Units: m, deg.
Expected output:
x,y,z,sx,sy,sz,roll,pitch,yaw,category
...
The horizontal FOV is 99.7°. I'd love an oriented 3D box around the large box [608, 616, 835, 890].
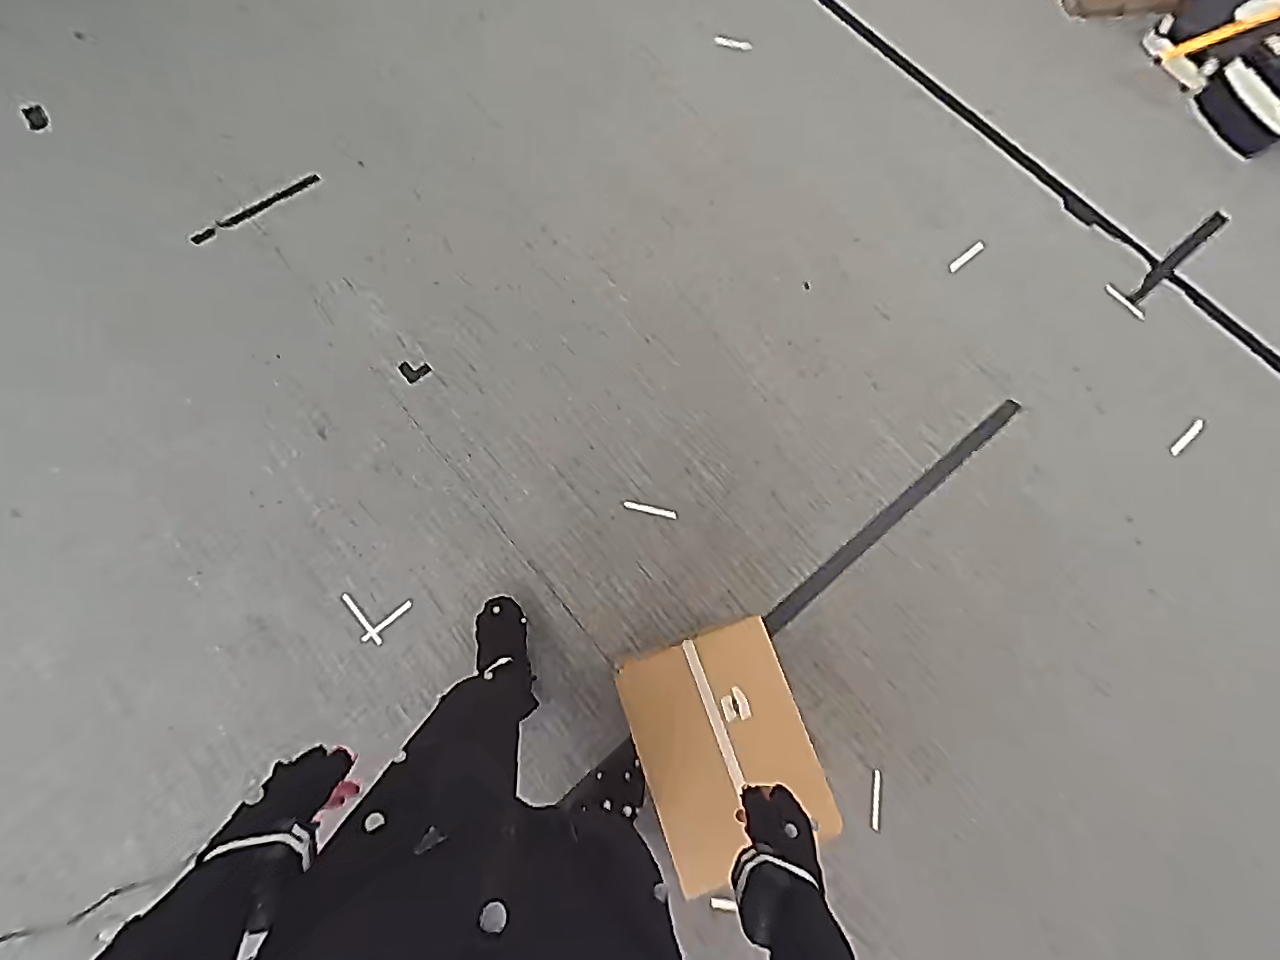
x,y,z,sx,sy,sz,roll,pitch,yaw,category
0.146,0.538,1.156,0.320,0.320,0.408,-18,75,-7,large box
